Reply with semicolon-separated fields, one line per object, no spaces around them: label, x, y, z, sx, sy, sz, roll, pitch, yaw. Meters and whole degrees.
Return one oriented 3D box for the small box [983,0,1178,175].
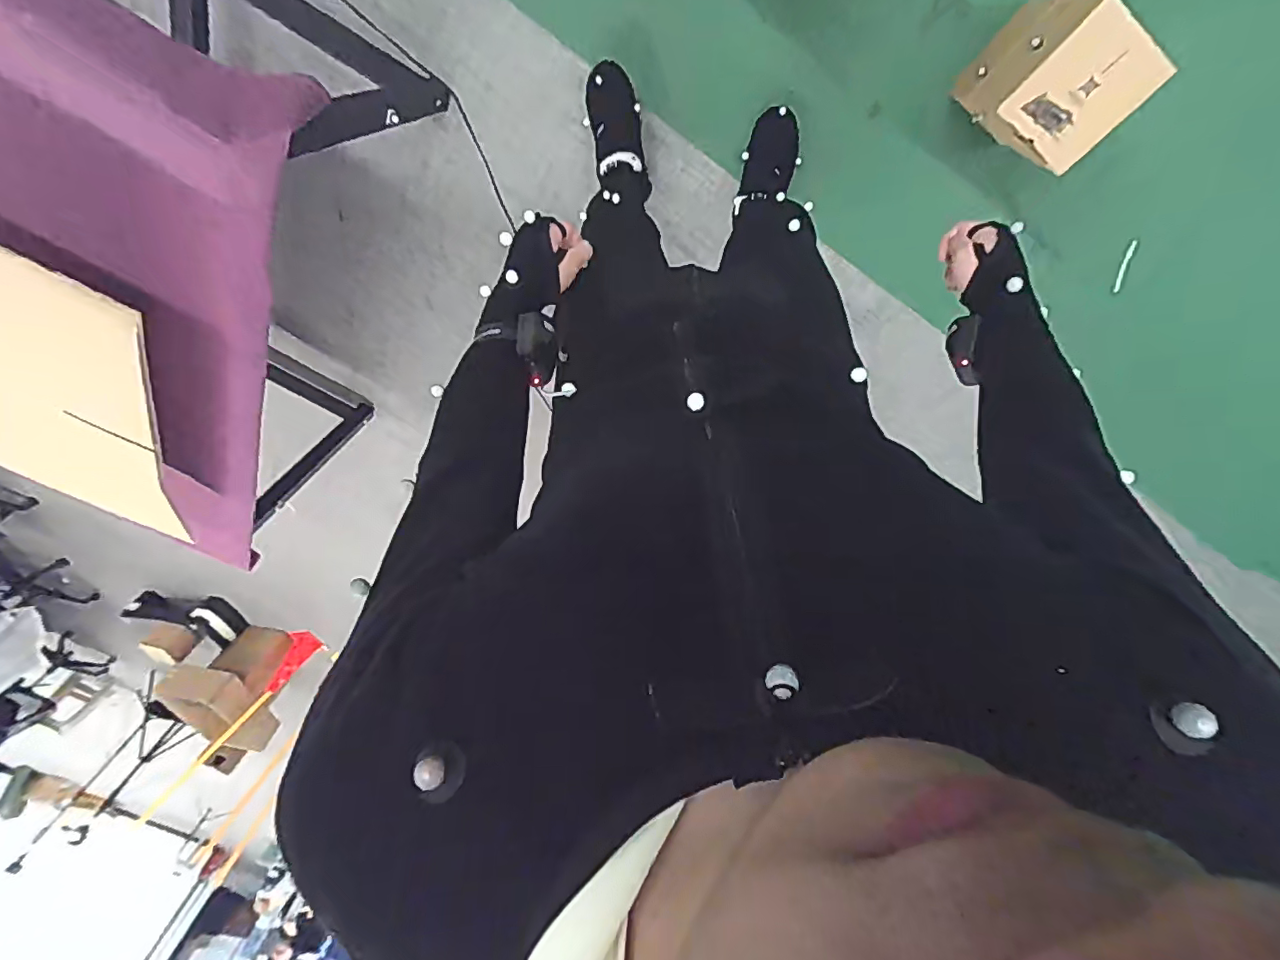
small box;0.707;-0.653;0.898;0.168;0.176;0.179;33;130;-14

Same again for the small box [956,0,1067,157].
small box;0.740;-0.758;1.020;0.168;0.176;0.179;32;131;-13
